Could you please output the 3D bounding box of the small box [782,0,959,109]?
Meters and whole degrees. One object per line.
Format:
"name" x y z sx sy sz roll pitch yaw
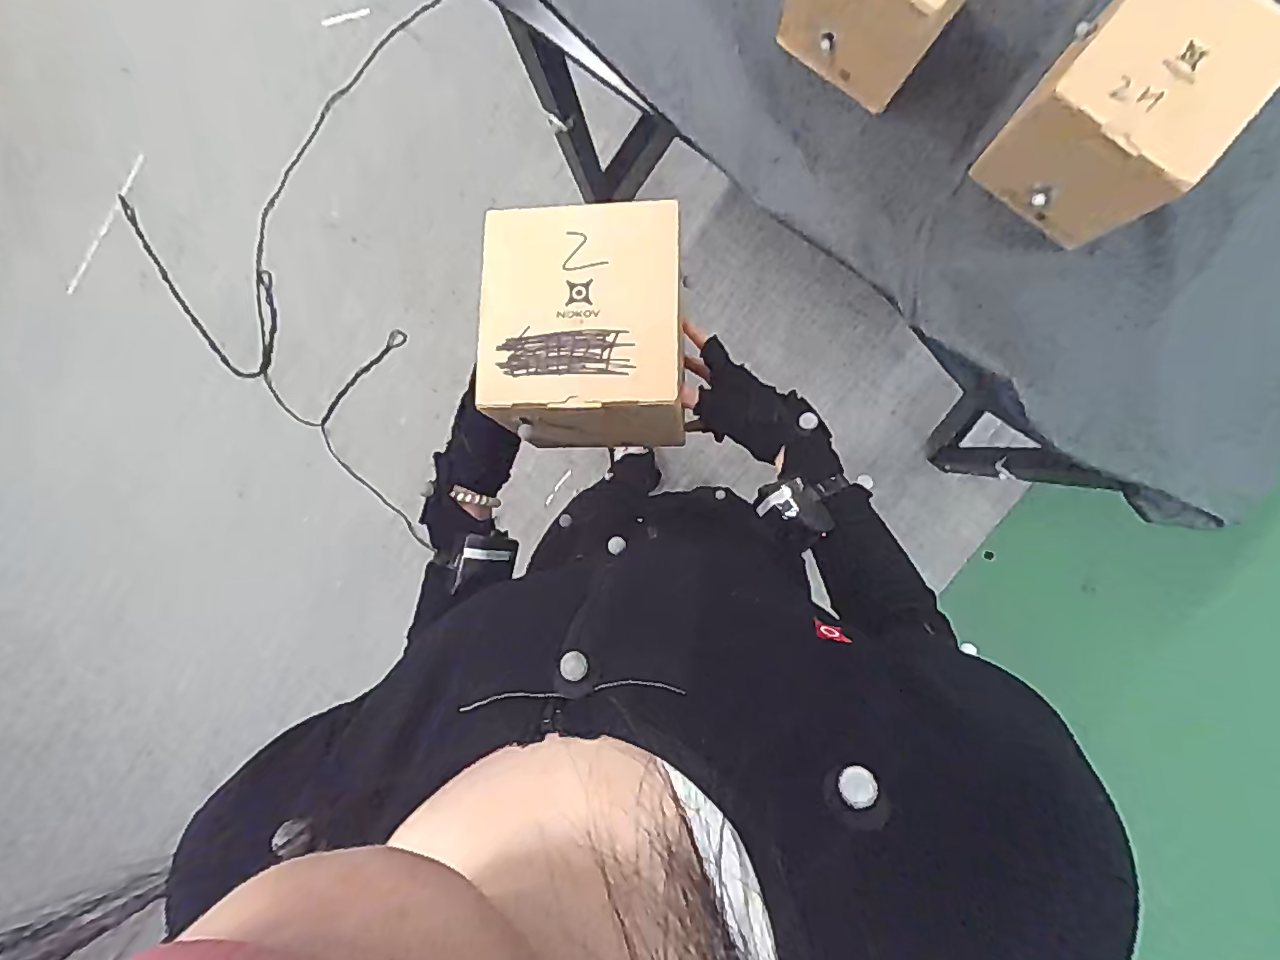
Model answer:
"small box" 0.284 -0.582 0.609 0.168 0.176 0.179 37 96 0

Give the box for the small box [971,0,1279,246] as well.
"small box" 0.522 -0.404 0.604 0.168 0.176 0.179 38 96 1
